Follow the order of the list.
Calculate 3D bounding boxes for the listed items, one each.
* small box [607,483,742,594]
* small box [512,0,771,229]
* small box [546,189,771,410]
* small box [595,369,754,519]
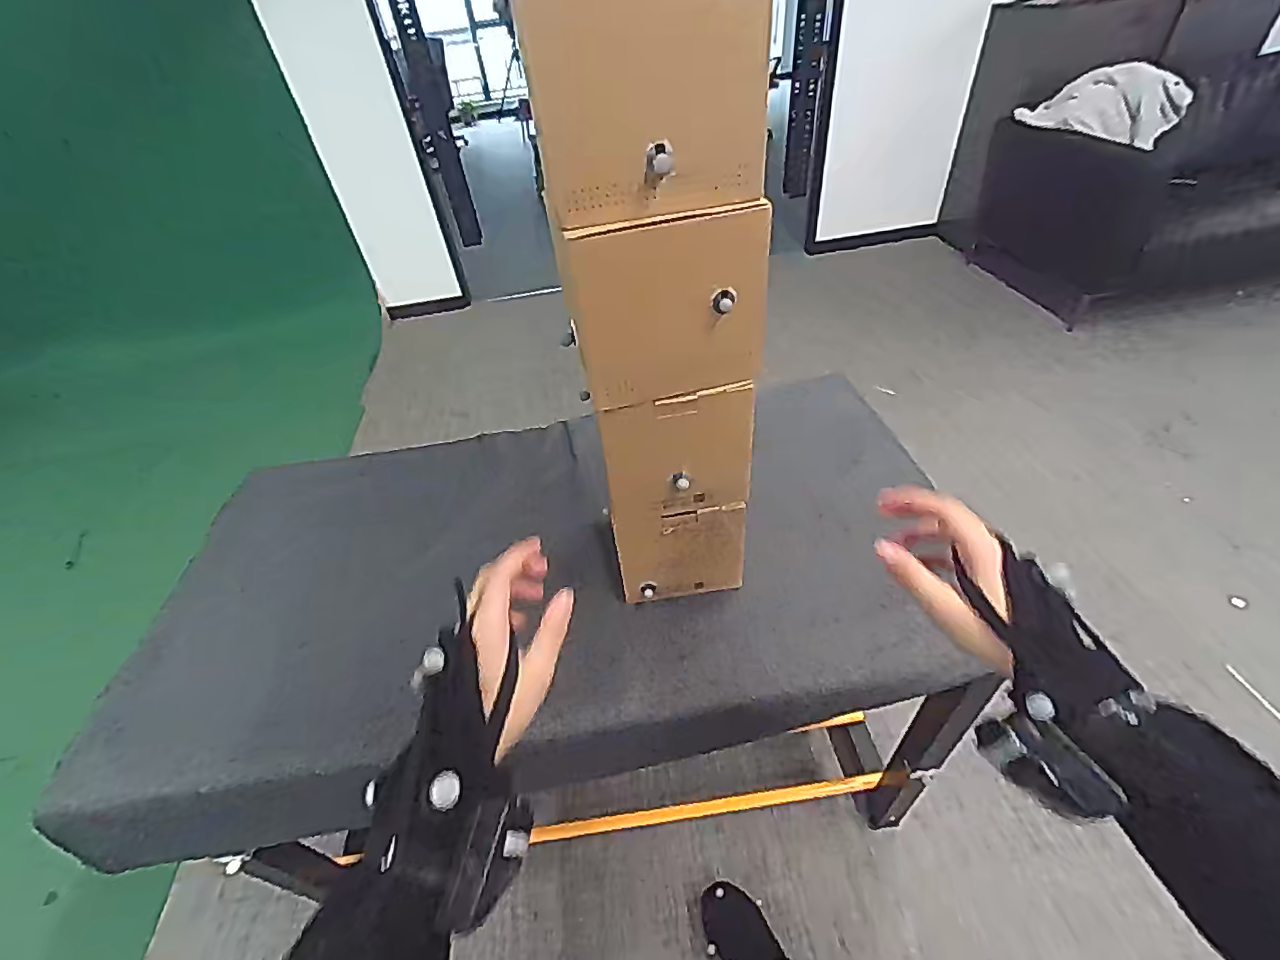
[{"bbox_3d":[0.045,0.045,0.765,0.168,0.176,0.179,-8,42,-1],"label":"small box"},{"bbox_3d":[-0.004,-0.327,0.448,0.179,0.176,0.168,-11,41,-4],"label":"small box"},{"bbox_3d":[0.015,-0.194,0.545,0.179,0.176,0.168,-14,41,-6],"label":"small box"},{"bbox_3d":[0.031,-0.078,0.657,0.168,0.176,0.179,-10,43,-2],"label":"small box"}]
